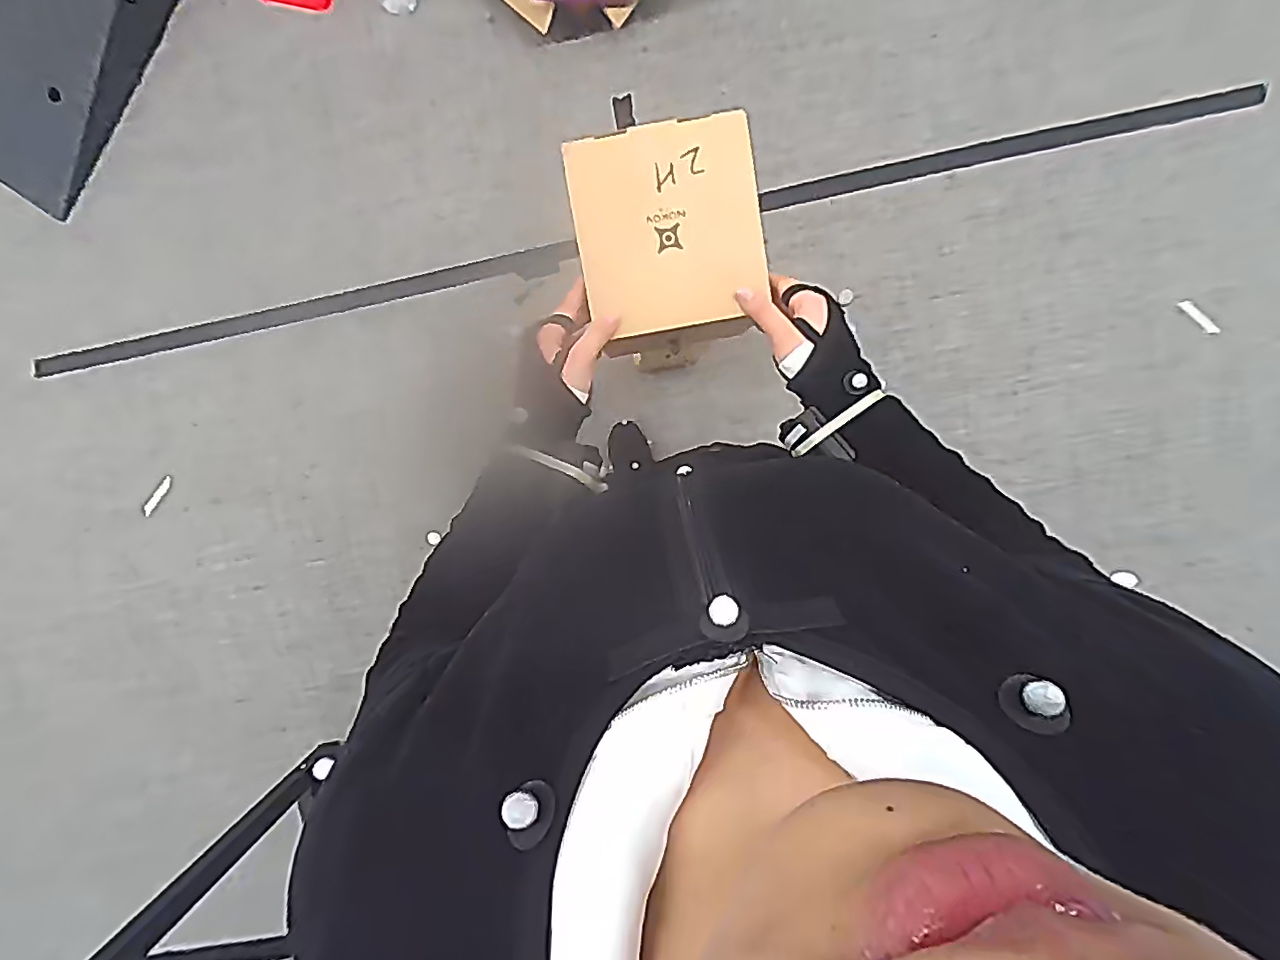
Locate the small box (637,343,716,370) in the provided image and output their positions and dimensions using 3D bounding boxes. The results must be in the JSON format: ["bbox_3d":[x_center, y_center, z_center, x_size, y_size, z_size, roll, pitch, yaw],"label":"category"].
[{"bbox_3d":[0.067,-0.361,1.222,0.168,0.176,0.179,-13,94,3],"label":"small box"}]

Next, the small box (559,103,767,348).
[{"bbox_3d":[0.025,-0.239,0.559,0.168,0.176,0.179,-10,97,3],"label":"small box"}]

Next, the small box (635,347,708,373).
[{"bbox_3d":[0.070,-0.377,1.385,0.179,0.176,0.168,-11,94,4],"label":"small box"}]

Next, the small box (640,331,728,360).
[{"bbox_3d":[0.067,-0.347,1.057,0.168,0.176,0.179,-13,95,3],"label":"small box"}]
